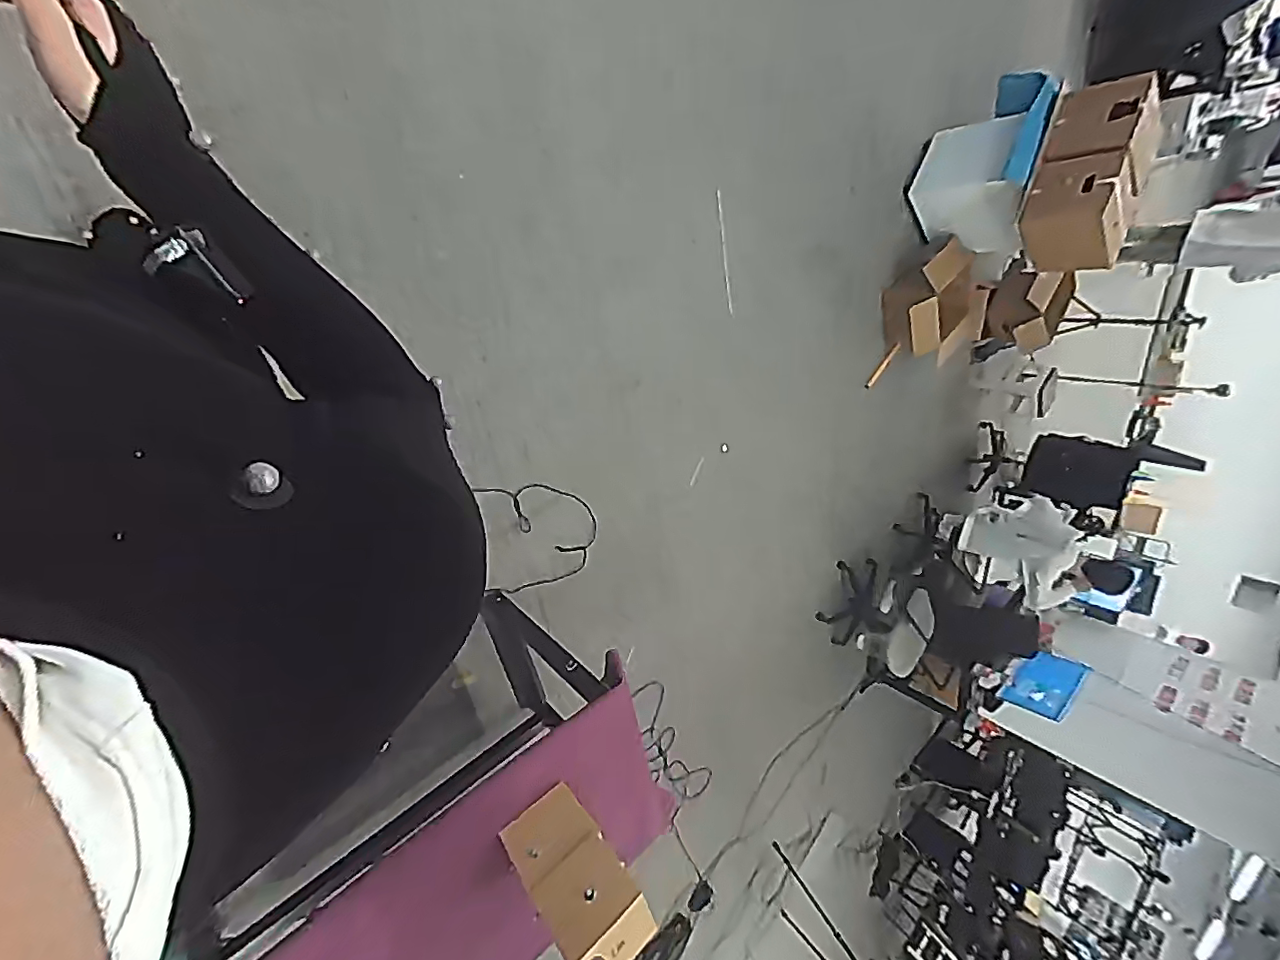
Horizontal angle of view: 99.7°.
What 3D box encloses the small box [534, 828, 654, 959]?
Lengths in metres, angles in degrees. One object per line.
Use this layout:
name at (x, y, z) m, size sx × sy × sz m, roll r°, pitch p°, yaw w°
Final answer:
small box at (-0.102, 0.887, 1.128) m, size 0.179 × 0.176 × 0.168 m, roll -32°, pitch 124°, yaw -31°
